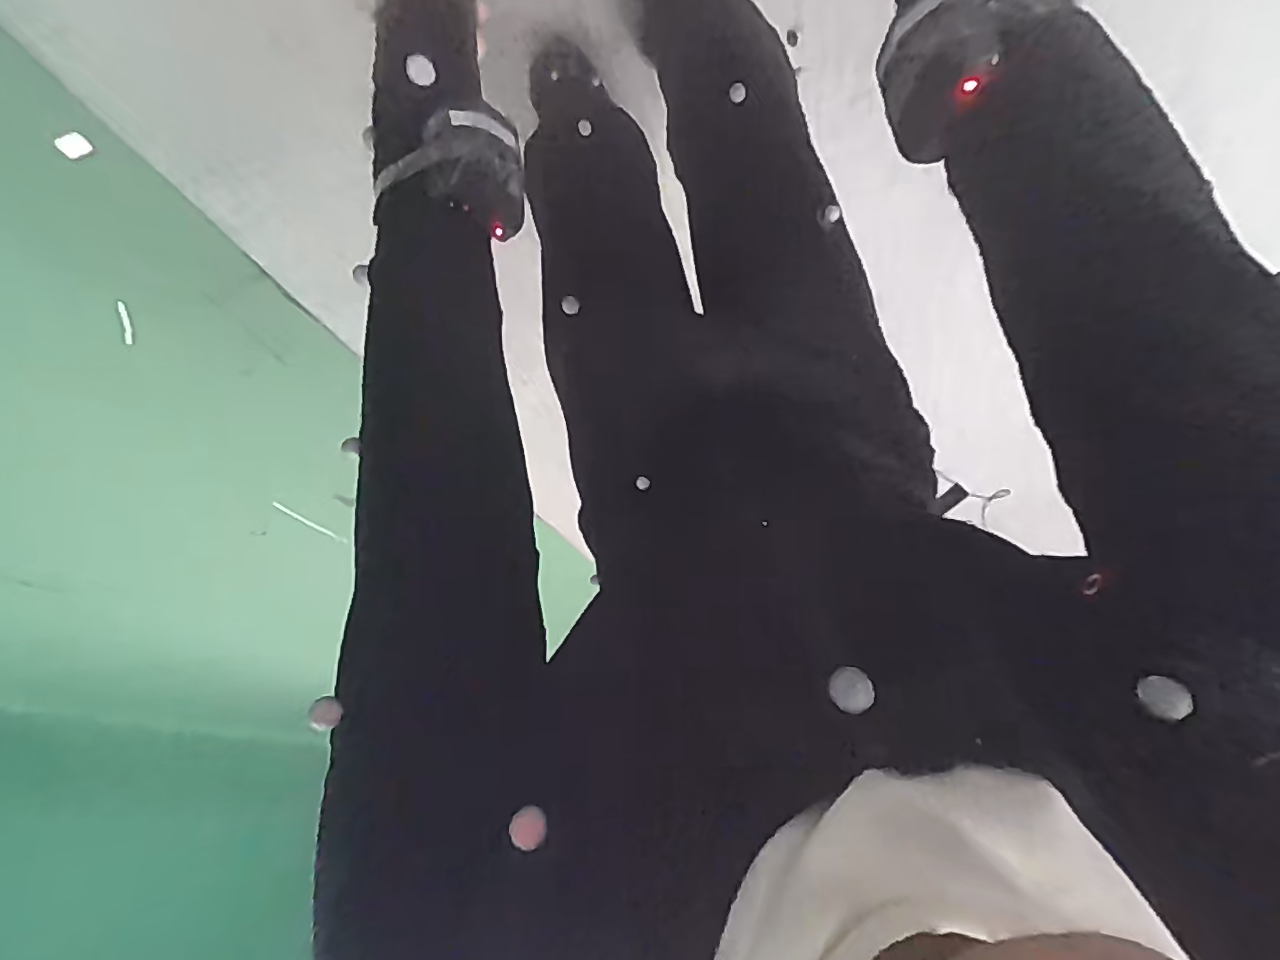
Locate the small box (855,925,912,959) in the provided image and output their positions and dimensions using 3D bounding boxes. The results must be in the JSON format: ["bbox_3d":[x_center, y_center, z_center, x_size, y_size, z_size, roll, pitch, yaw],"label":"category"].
[{"bbox_3d":[0.857,1.671,1.875,0.168,0.176,0.179,-18,143,13],"label":"small box"}]
